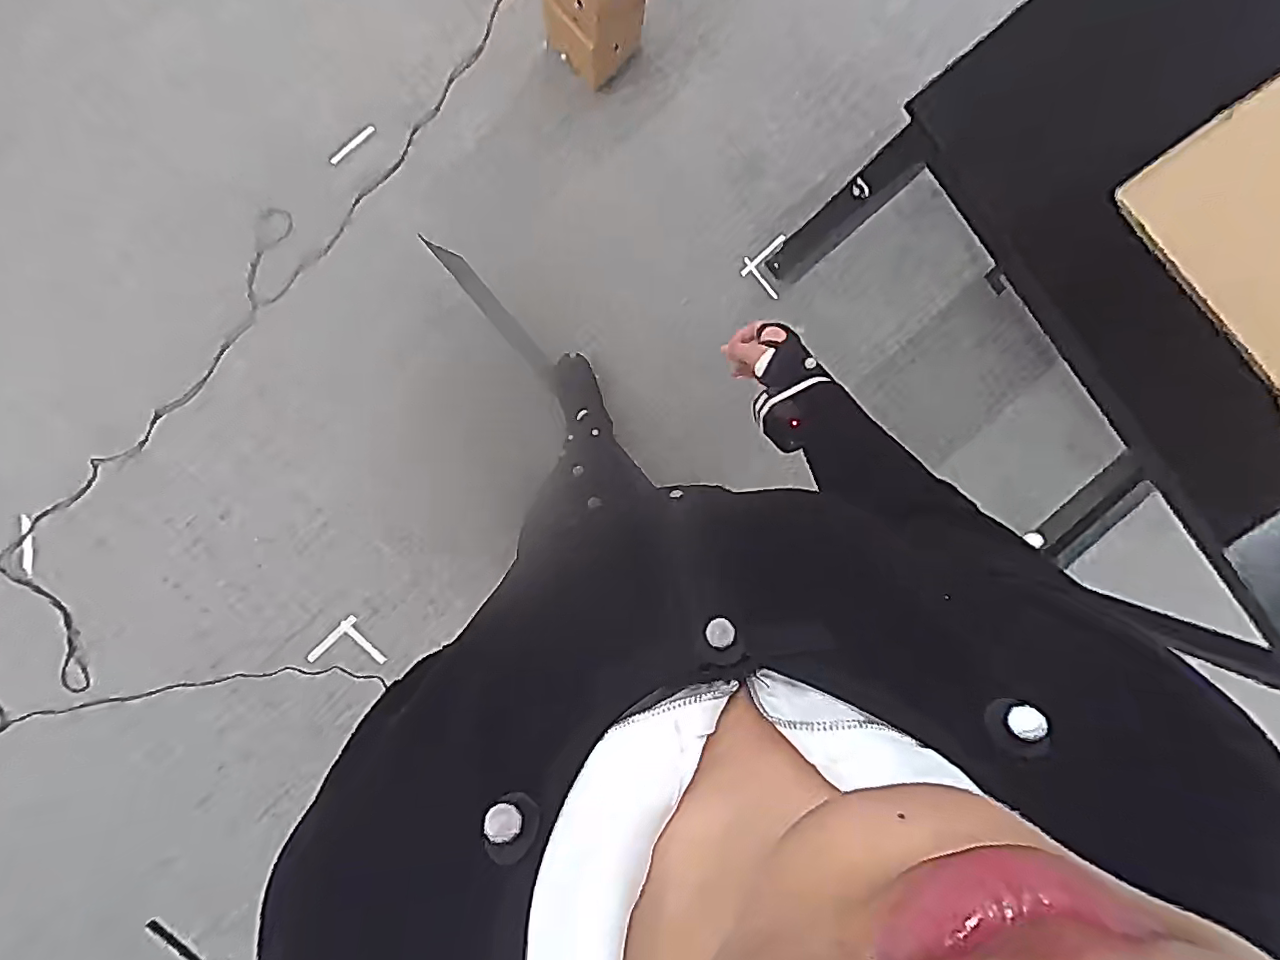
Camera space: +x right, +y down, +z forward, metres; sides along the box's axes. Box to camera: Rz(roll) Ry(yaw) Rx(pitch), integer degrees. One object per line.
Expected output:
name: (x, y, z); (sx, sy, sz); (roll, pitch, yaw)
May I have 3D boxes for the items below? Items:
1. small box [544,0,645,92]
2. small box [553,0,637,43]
small box: (-0.110, -1.089, 1.286); (0.179, 0.176, 0.168); (-44, 97, 2)
small box: (-0.097, -1.080, 1.125); (0.168, 0.176, 0.179); (42, 90, -8)
